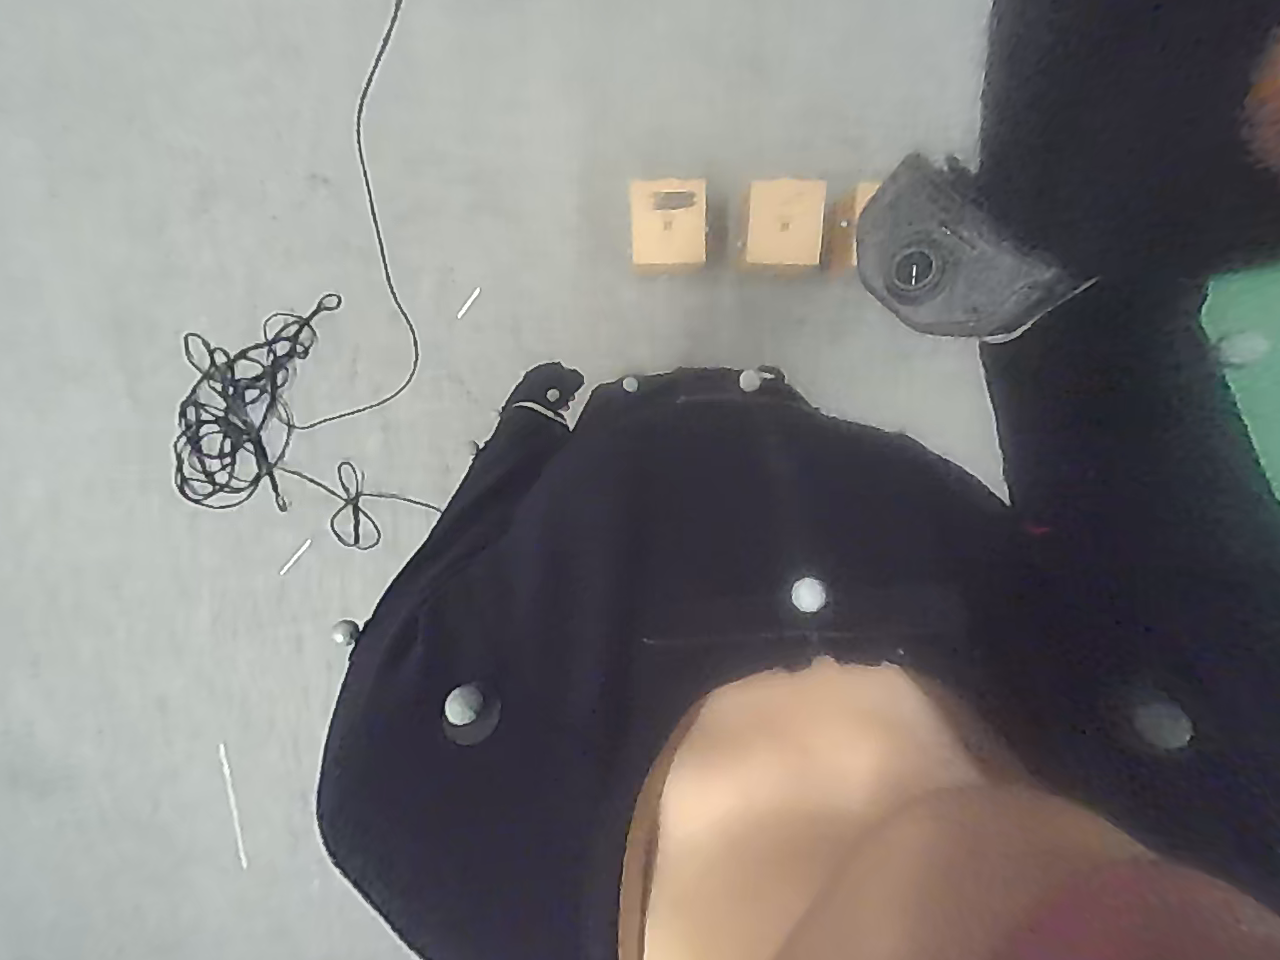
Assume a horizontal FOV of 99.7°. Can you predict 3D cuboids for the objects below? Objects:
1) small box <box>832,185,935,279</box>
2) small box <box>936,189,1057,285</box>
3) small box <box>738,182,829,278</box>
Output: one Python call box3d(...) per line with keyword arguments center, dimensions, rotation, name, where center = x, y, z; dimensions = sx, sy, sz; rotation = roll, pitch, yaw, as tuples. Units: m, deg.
box3d(center=(0.560, -0.573, 1.268), dimensions=(0.168, 0.176, 0.179), rotation=(0, 101, 1), name="small box")
box3d(center=(0.823, -0.562, 1.266), dimensions=(0.168, 0.176, 0.179), rotation=(0, 103, 1), name="small box")
box3d(center=(0.328, -0.577, 1.269), dimensions=(0.168, 0.176, 0.179), rotation=(2, 102, 0), name="small box")
